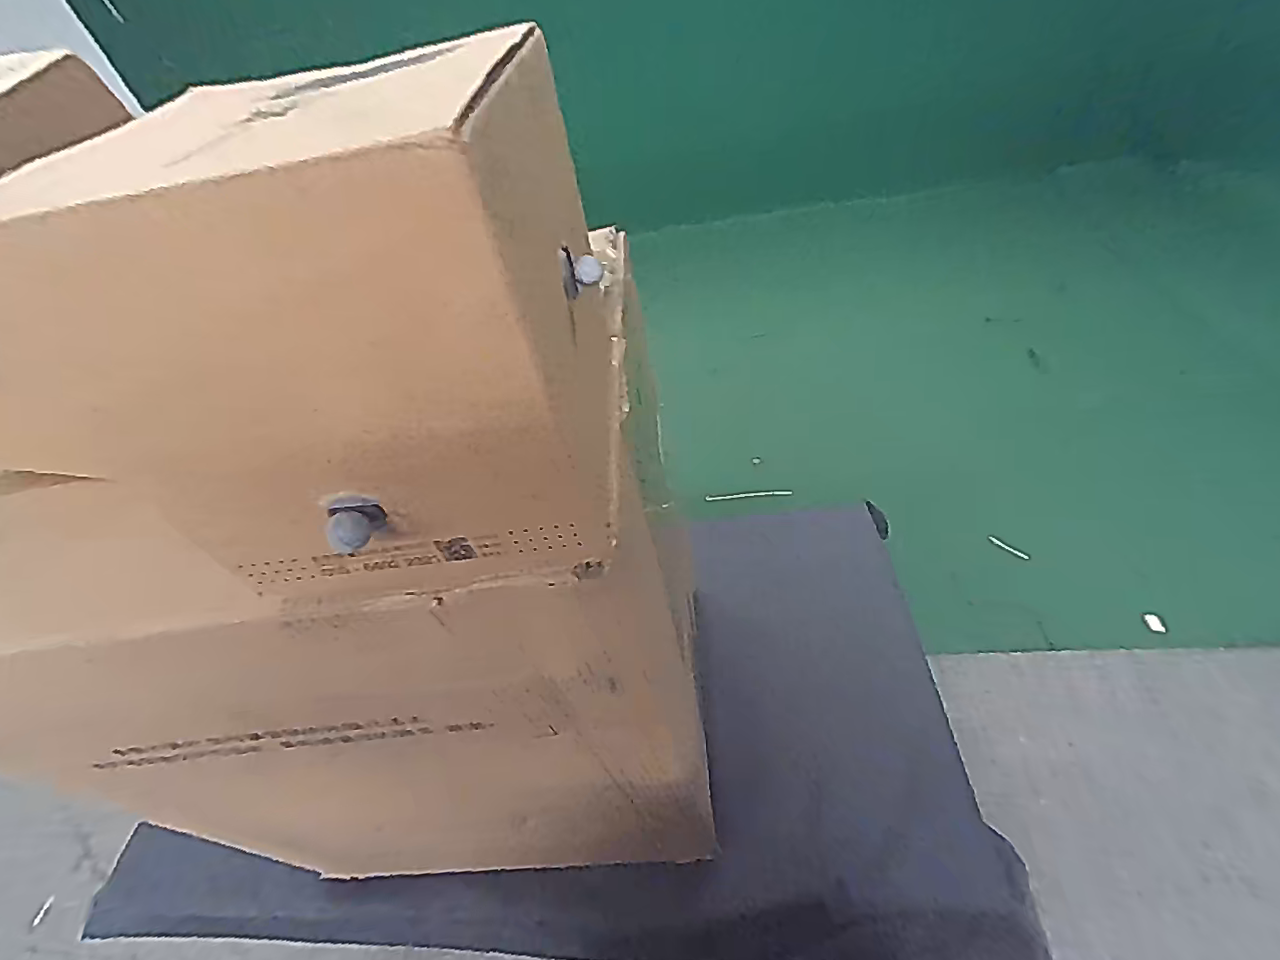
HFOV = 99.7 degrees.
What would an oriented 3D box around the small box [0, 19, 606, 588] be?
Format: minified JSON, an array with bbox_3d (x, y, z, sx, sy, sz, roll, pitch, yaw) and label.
[{"bbox_3d":[-0.113,-0.074,0.244,0.168,0.176,0.179,-7,47,6],"label":"small box"}]

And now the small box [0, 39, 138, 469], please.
[{"bbox_3d":[-0.375,-0.119,0.325,0.179,0.176,0.168,4,60,15],"label":"small box"}]
